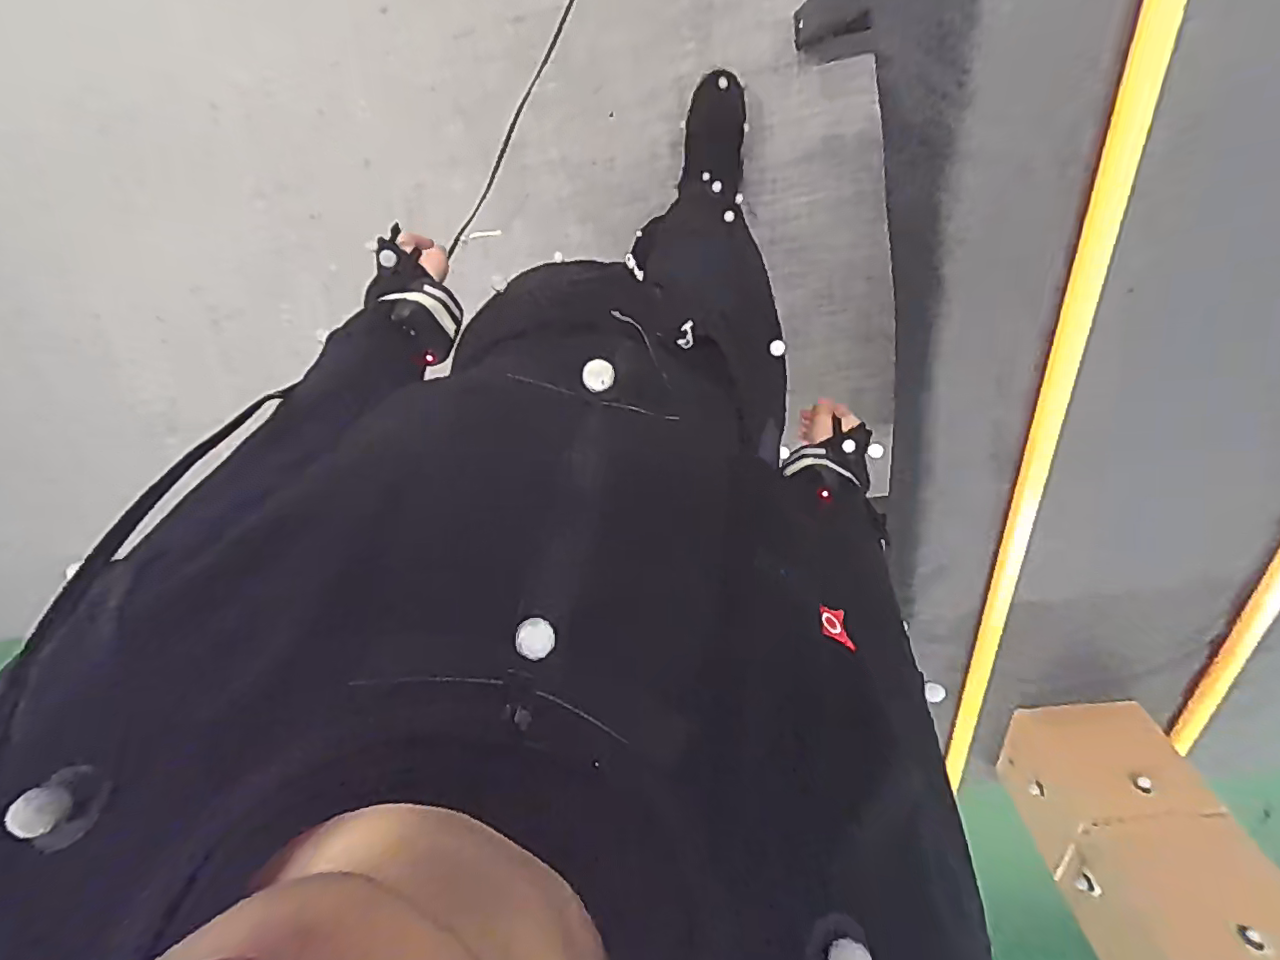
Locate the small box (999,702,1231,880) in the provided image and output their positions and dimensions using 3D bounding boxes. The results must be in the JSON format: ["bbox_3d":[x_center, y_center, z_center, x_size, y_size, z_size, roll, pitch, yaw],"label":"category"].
[{"bbox_3d":[0.667,0.450,0.790,0.179,0.176,0.168,-7,120,6],"label":"small box"}]

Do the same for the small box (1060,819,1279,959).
[{"bbox_3d":[0.664,0.537,0.653,0.179,0.176,0.168,-8,119,7],"label":"small box"}]
